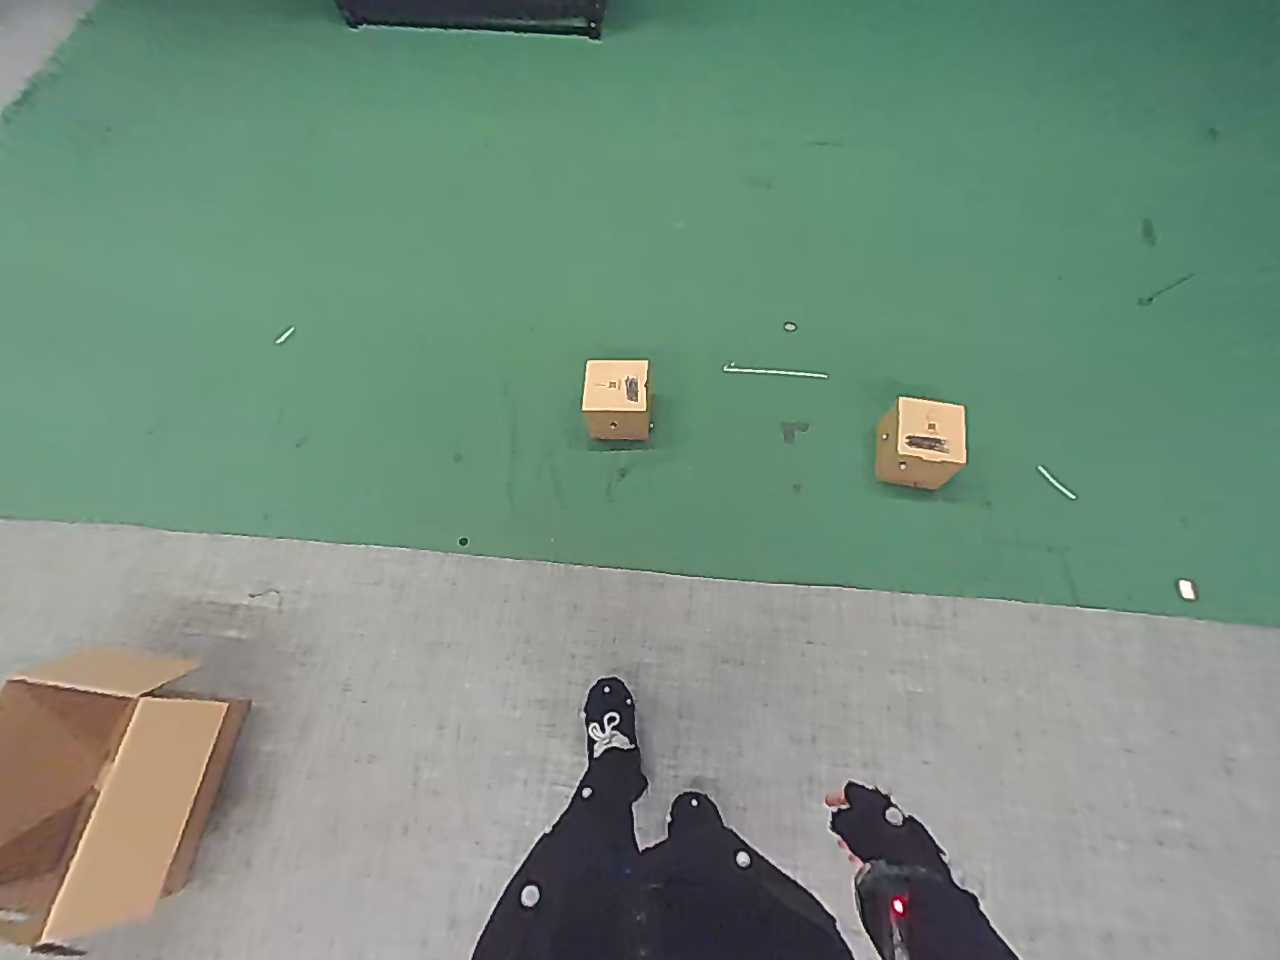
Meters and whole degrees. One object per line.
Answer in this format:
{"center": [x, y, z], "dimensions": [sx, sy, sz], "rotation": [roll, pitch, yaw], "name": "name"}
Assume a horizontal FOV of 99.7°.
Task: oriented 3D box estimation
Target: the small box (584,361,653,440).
{"center": [-0.054, -0.224, 1.545], "dimensions": [0.179, 0.176, 0.168], "rotation": [1, 67, 5], "name": "small box"}
